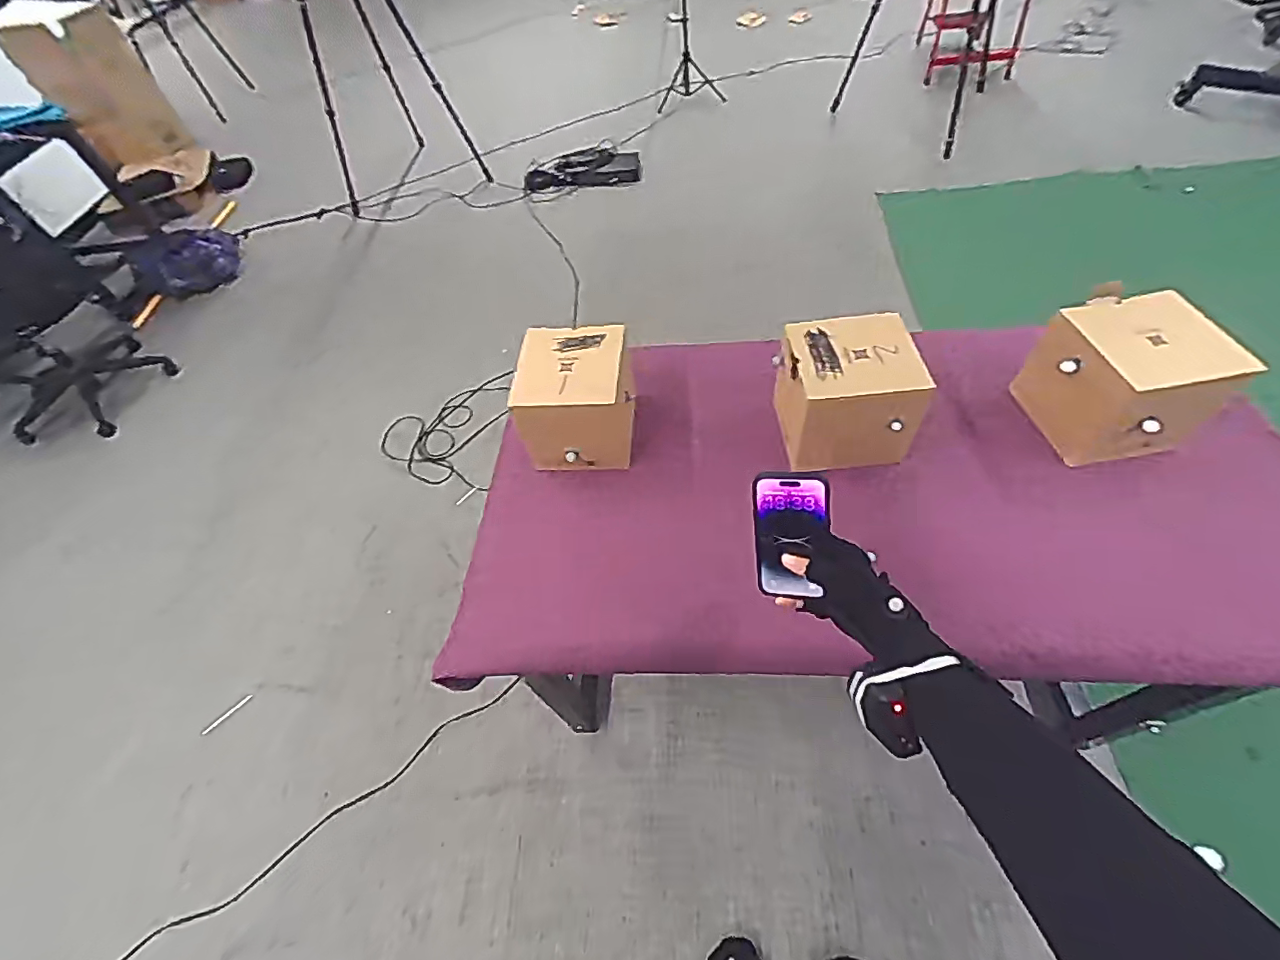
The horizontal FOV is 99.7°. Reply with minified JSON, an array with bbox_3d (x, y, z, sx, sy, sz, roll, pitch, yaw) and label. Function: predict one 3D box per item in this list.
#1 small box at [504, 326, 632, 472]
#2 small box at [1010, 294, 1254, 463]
[{"bbox_3d":[-0.107,-0.133,0.900,0.168,0.176,0.179,0,56,7],"label":"small box"},{"bbox_3d":[0.701,-0.141,0.801,0.168,0.176,0.179,-10,53,1],"label":"small box"}]
